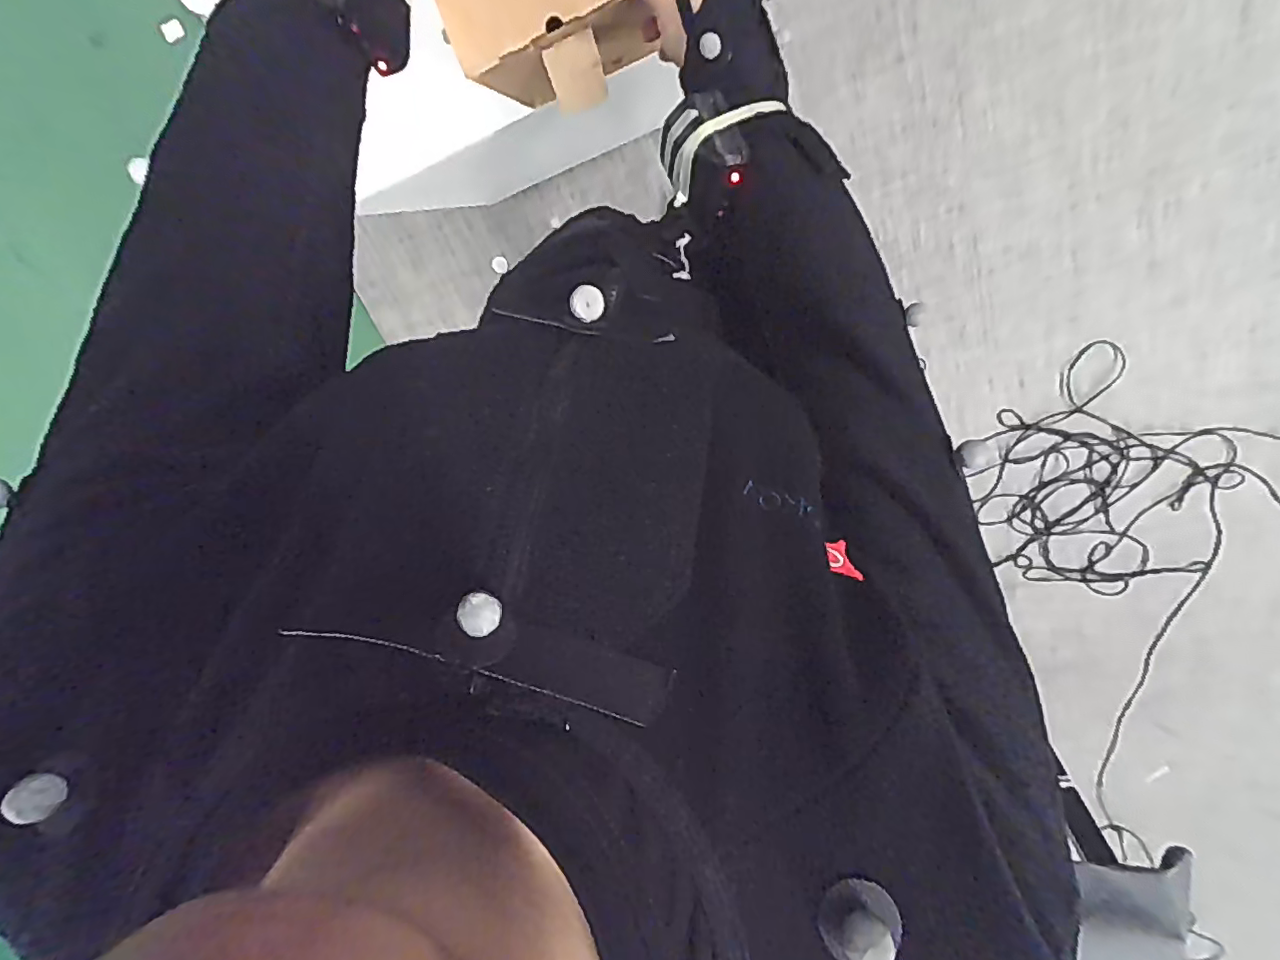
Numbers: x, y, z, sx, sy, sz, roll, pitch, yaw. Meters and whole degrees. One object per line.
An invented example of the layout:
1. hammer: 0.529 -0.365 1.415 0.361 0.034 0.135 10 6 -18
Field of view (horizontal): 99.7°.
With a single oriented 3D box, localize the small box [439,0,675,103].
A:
1. small box: -0.076 -0.449 0.444 0.168 0.176 0.179 -14 115 16
